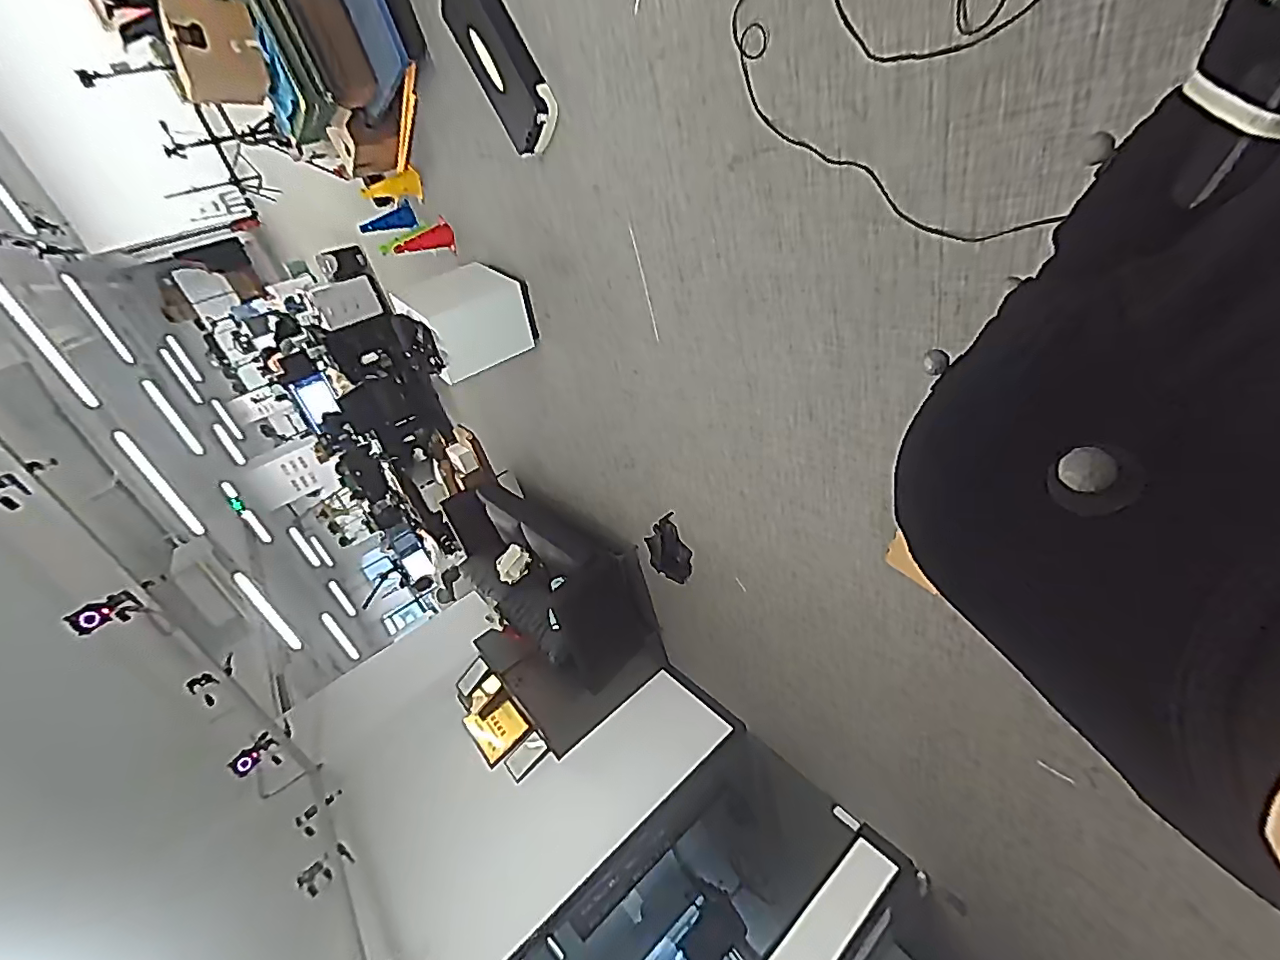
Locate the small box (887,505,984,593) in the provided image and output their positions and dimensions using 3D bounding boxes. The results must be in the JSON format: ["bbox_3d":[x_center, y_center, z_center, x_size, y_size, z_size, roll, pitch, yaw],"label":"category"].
[{"bbox_3d":[0.893,0.199,1.640,0.179,0.176,0.168,38,149,34],"label":"small box"}]
